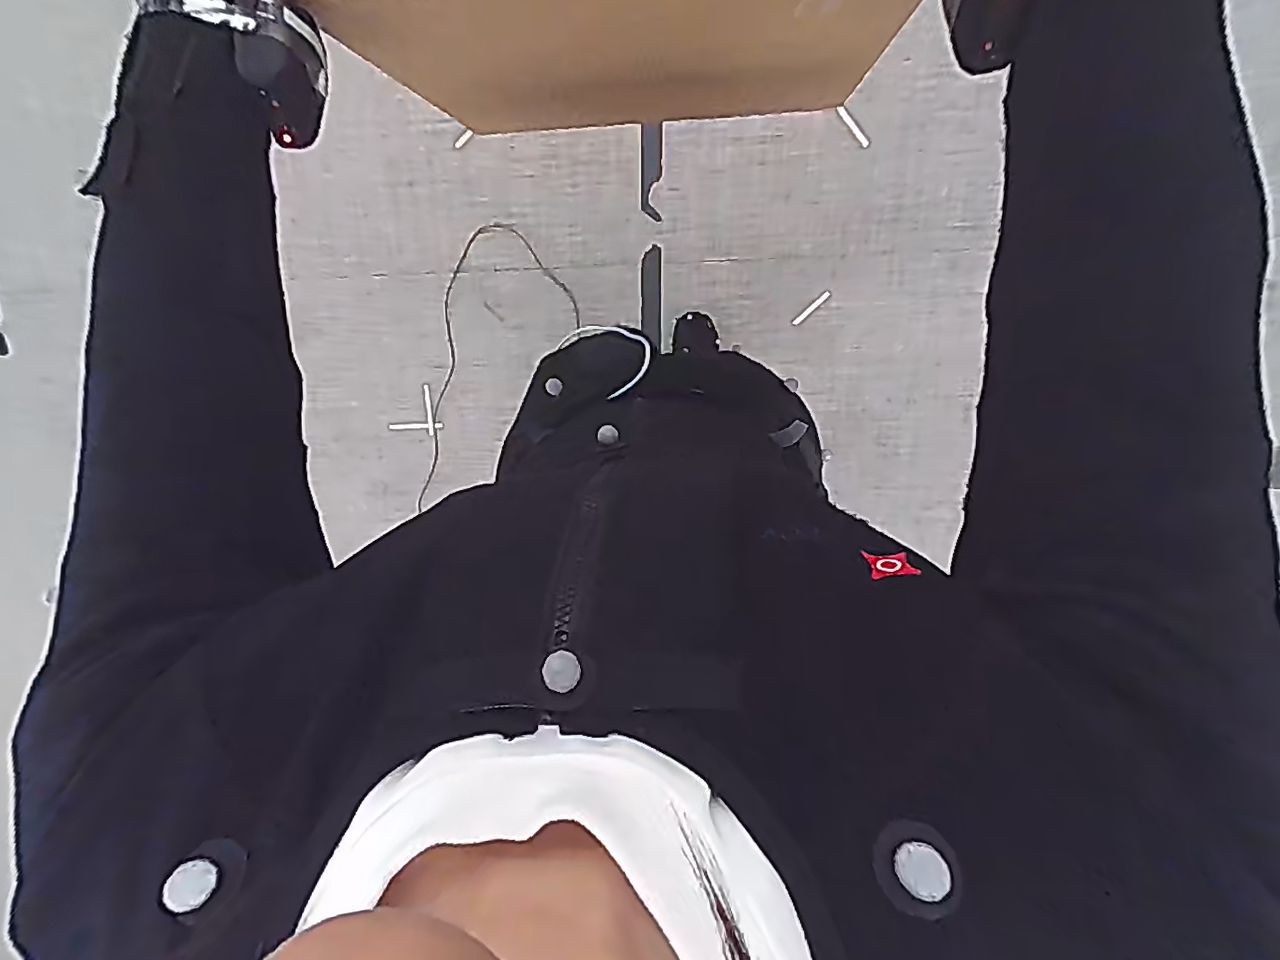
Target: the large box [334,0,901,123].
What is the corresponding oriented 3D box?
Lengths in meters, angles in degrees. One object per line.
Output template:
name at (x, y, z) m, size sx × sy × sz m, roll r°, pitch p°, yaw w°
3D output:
large box at (-0.006, -0.500, 0.399) m, size 0.408 × 0.320 × 0.320 m, roll -1°, pitch 110°, yaw 6°
